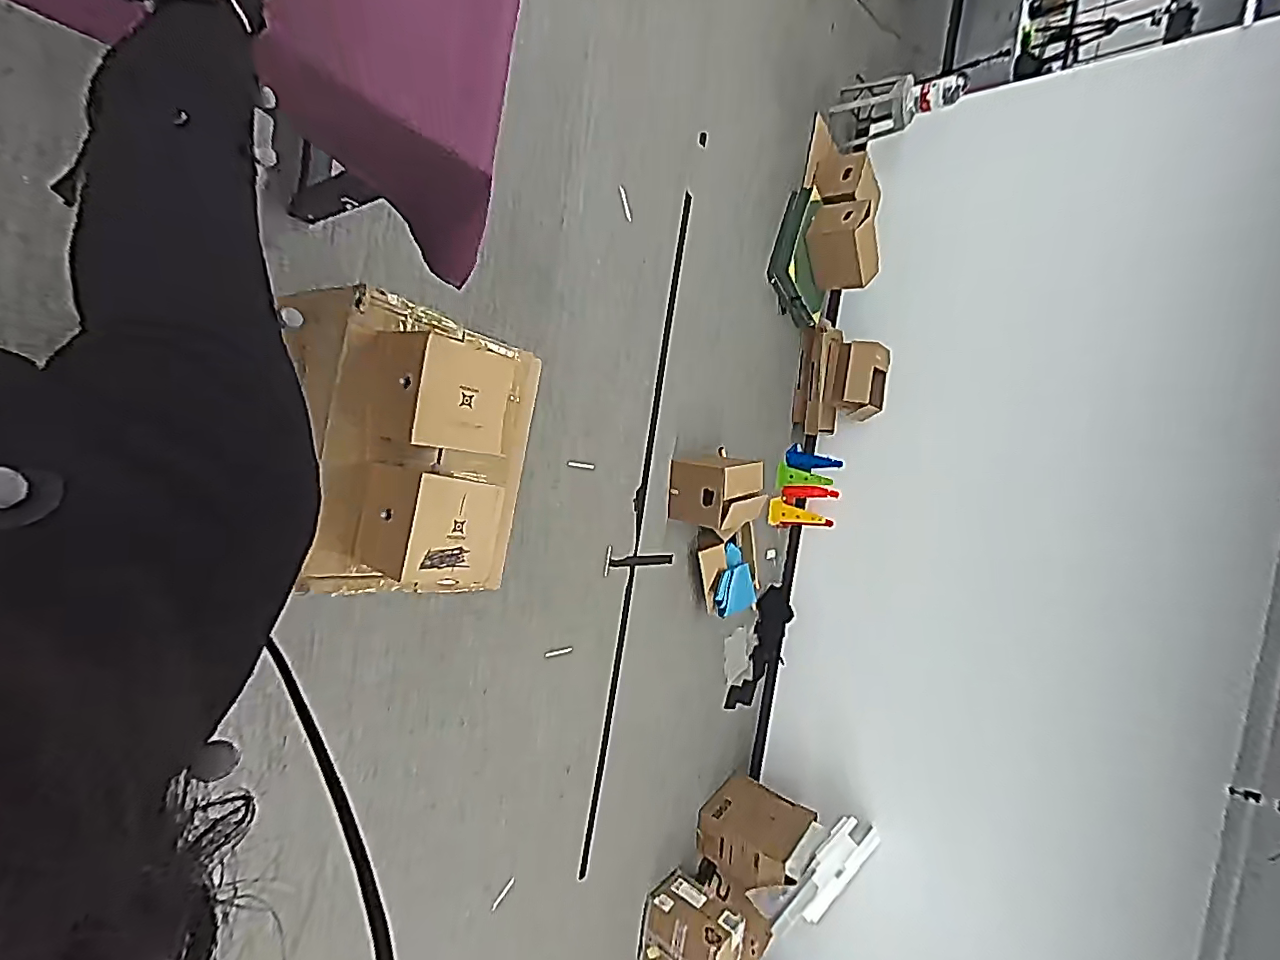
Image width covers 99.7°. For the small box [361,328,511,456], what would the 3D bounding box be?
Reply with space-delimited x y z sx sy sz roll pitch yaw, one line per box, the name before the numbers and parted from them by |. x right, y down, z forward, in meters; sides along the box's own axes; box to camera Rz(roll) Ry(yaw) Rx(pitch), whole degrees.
small box | -0.349 -0.147 0.919 0.168 0.176 0.179 9 93 -51

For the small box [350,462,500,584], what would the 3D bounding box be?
small box | -0.374 0.073 0.936 0.168 0.176 0.179 15 85 -52
